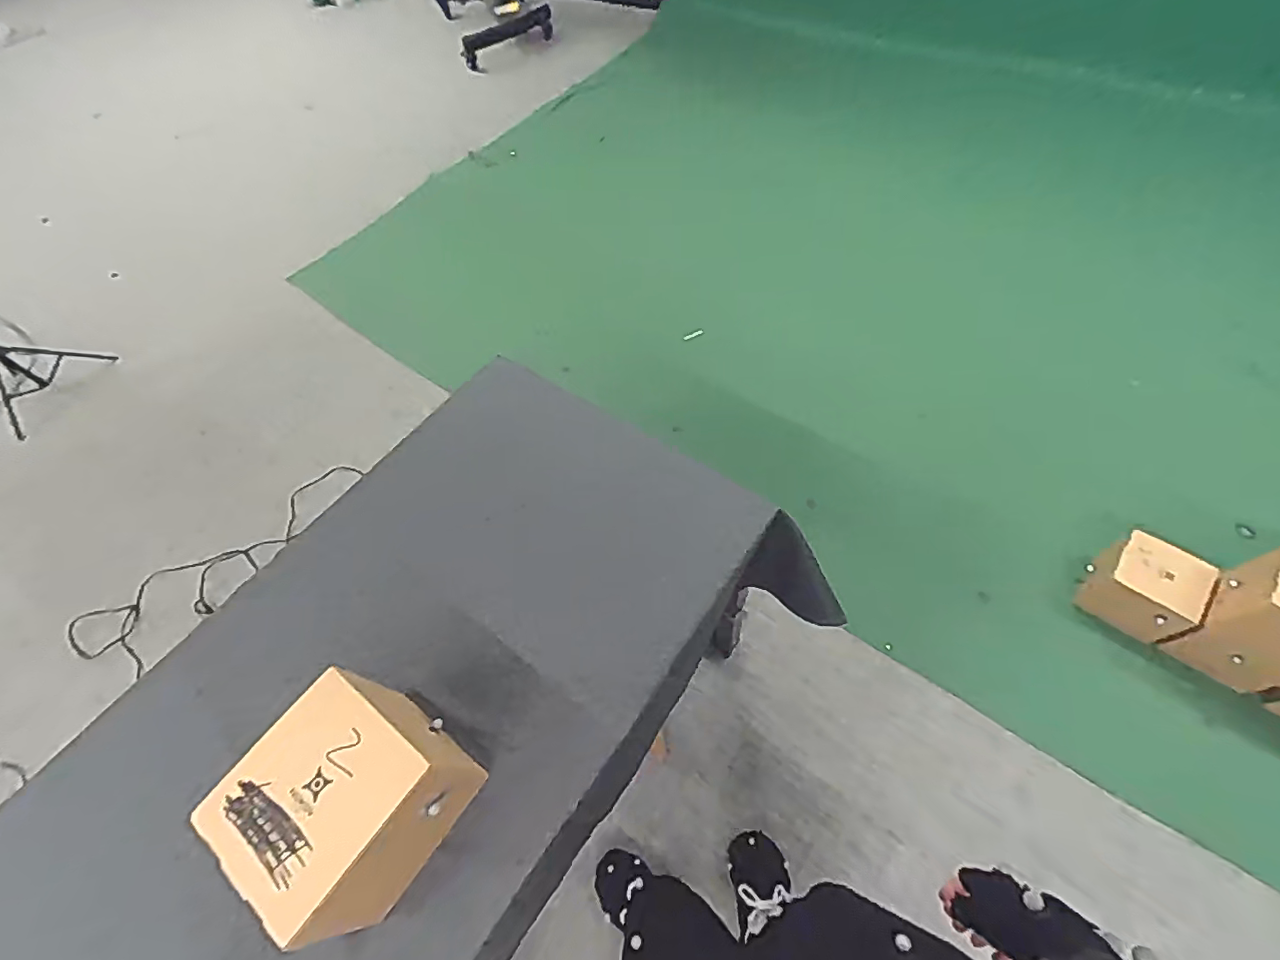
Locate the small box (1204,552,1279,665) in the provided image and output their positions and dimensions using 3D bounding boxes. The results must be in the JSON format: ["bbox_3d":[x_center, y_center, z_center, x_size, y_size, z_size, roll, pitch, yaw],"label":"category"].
[{"bbox_3d":[1.337,0.266,1.102,0.179,0.176,0.168,36,70,25],"label":"small box"}]
